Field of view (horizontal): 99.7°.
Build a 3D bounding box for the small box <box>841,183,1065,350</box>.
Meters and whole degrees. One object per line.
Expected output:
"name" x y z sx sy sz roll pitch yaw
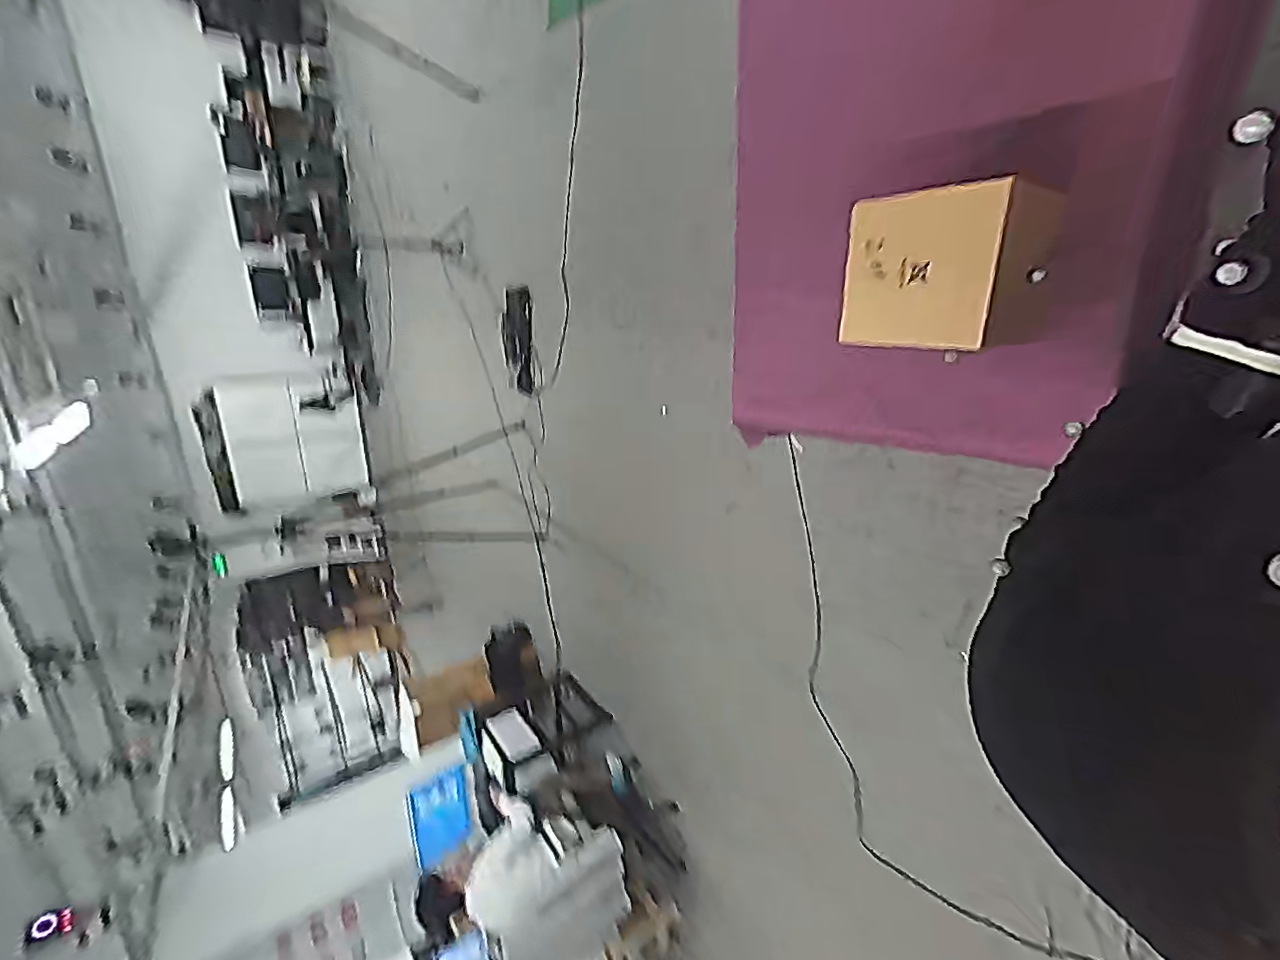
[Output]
"small box" 0.379 -0.253 0.663 0.179 0.176 0.168 23 118 51
